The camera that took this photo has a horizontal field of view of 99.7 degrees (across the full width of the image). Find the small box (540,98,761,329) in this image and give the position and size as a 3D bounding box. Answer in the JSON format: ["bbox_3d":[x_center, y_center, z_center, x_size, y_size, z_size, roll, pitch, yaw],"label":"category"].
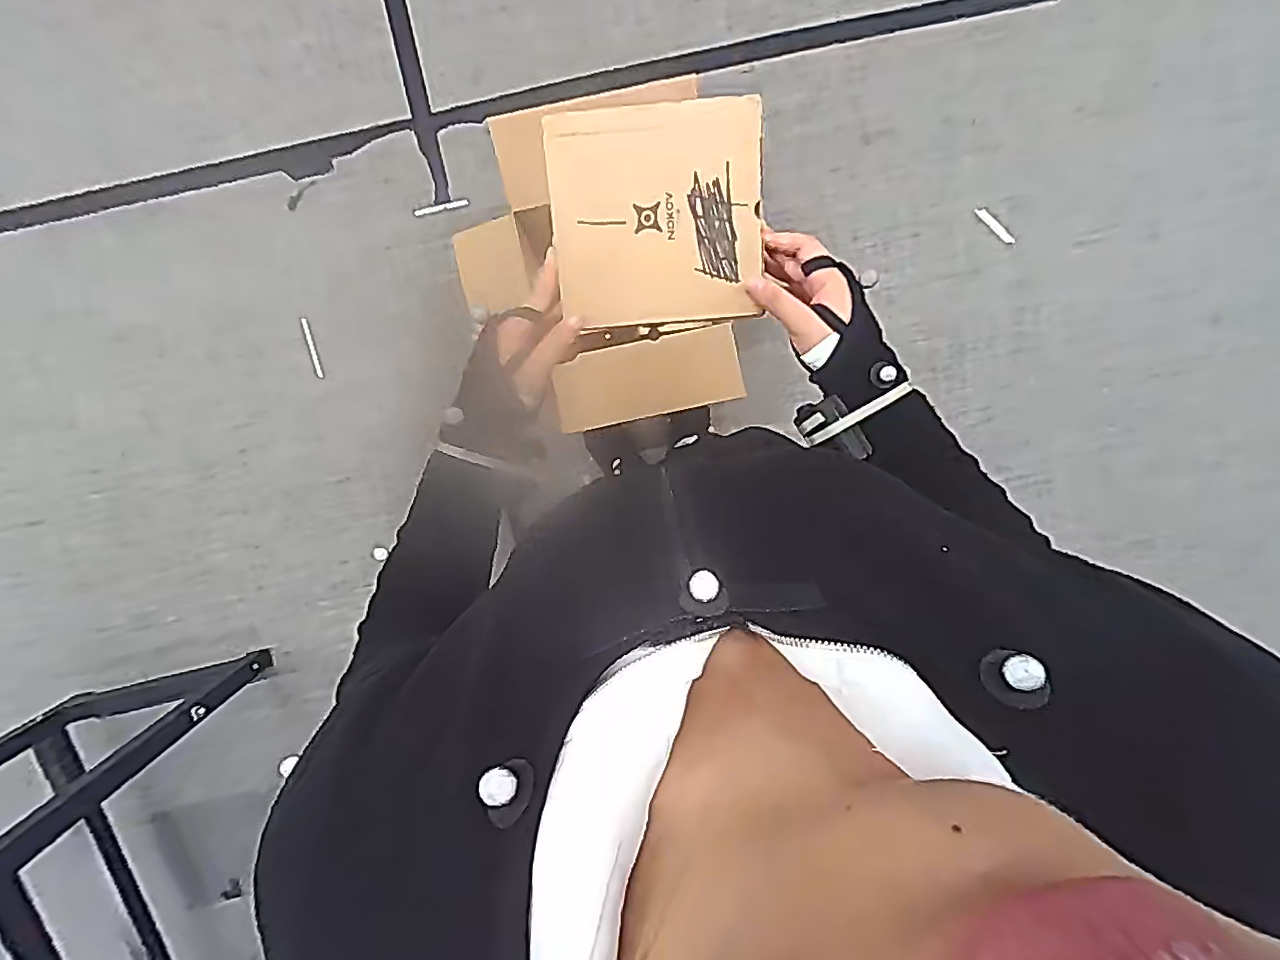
[{"bbox_3d":[0.012,-0.238,0.521,0.179,0.176,0.168,-4,106,2],"label":"small box"}]
